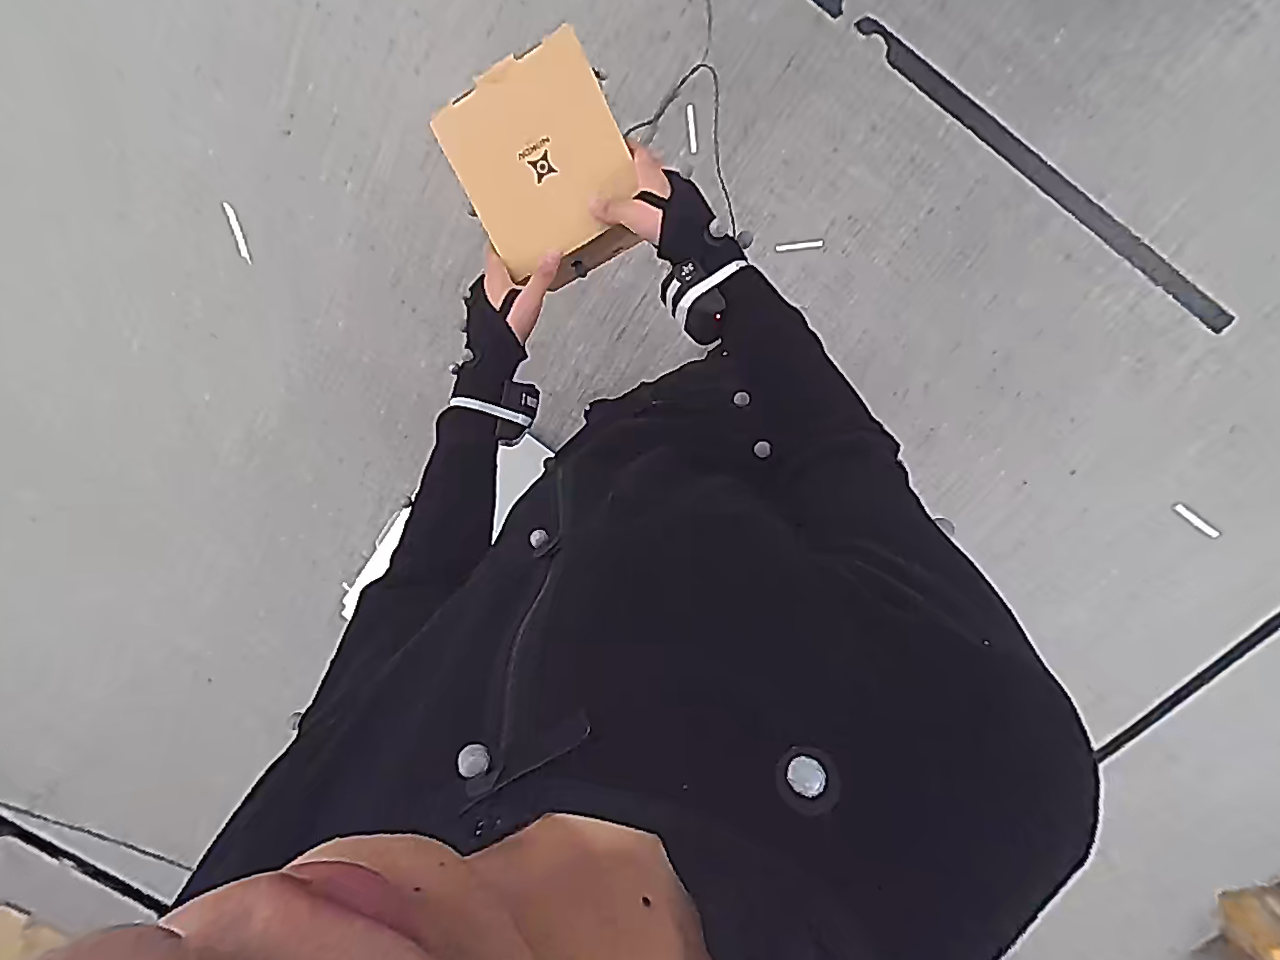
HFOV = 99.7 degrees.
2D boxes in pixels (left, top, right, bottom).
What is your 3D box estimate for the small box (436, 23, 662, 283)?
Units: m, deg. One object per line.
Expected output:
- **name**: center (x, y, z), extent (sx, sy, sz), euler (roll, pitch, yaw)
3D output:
- **small box**: center (-0.084, -0.339, 0.609), extent (0.168, 0.176, 0.179), euler (-25, 101, 12)
